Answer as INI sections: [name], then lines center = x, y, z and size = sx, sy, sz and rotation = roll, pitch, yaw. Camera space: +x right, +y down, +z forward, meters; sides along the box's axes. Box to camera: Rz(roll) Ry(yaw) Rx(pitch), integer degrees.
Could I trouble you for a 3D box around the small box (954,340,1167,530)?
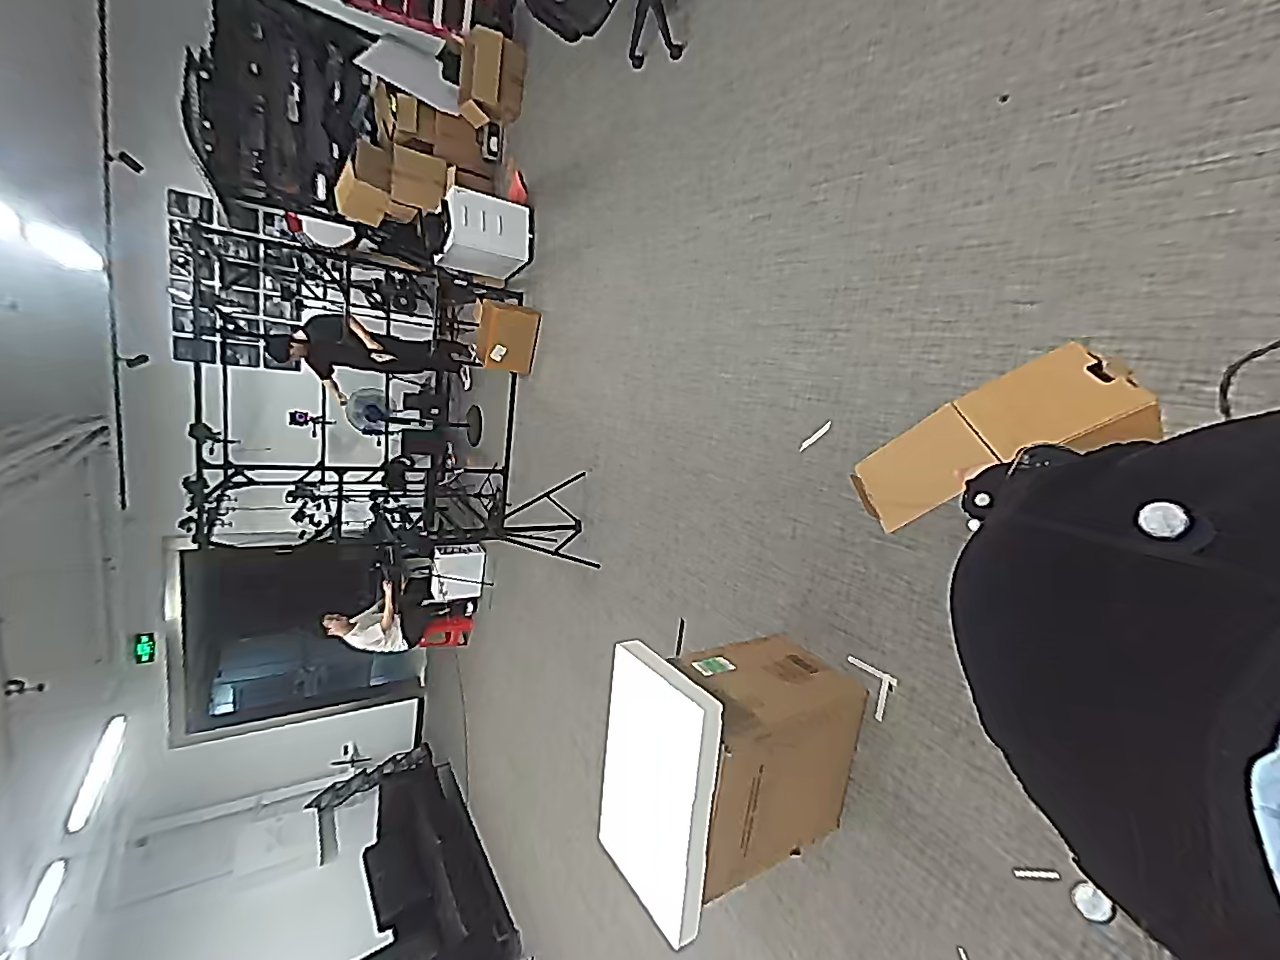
[small box]
center = 0.595, -0.058, 0.773
size = 0.179, 0.176, 0.168
rotation = -30, 33, 23
